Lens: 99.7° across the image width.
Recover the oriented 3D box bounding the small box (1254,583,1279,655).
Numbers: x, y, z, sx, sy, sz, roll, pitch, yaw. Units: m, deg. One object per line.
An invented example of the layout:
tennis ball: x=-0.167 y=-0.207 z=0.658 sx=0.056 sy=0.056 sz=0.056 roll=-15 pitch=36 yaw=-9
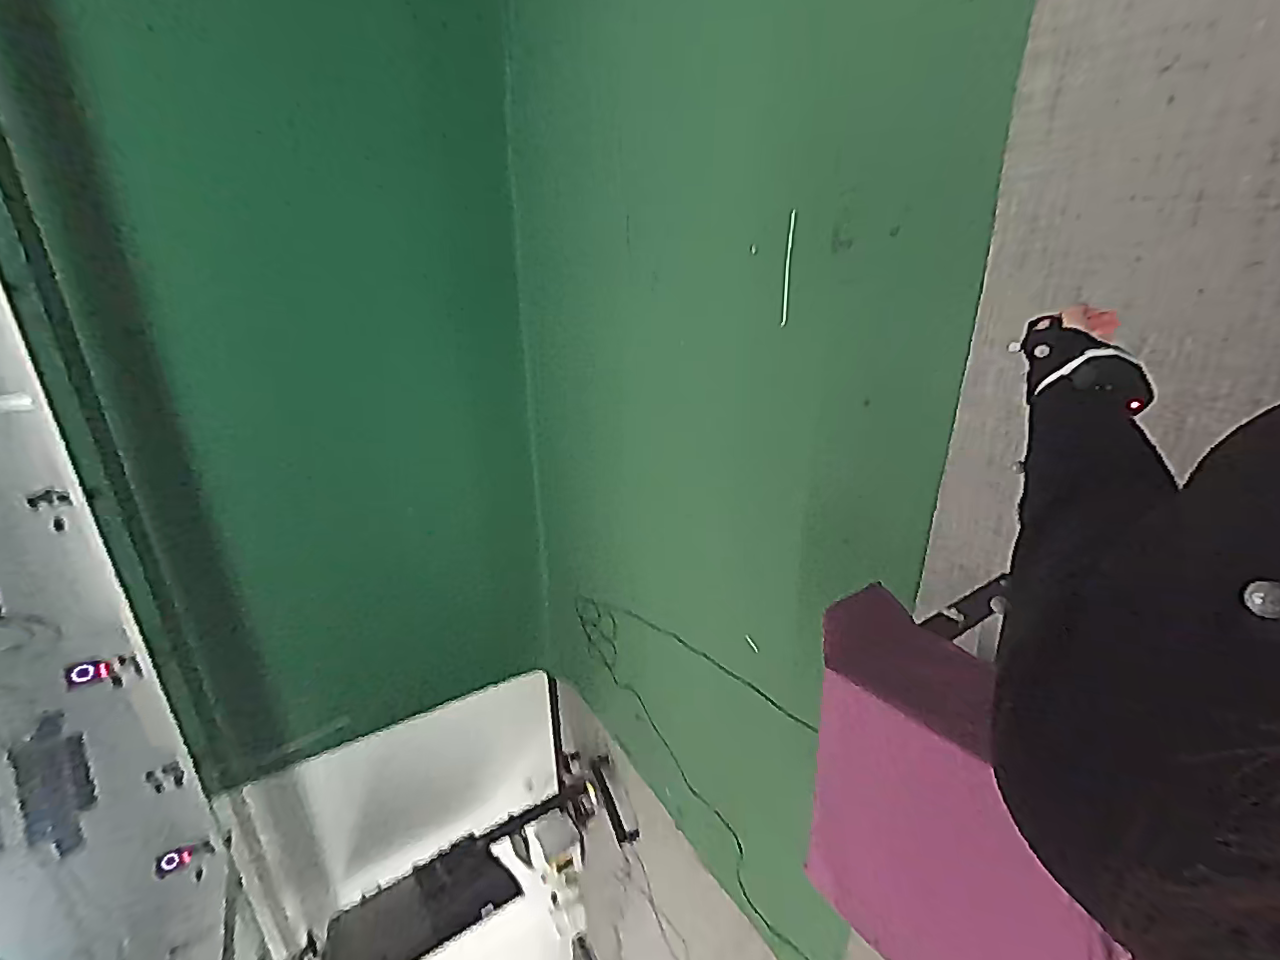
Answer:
small box: x=1.240 y=0.233 z=0.938 sx=0.179 sy=0.176 sz=0.168 roll=26 pitch=123 yaw=53
